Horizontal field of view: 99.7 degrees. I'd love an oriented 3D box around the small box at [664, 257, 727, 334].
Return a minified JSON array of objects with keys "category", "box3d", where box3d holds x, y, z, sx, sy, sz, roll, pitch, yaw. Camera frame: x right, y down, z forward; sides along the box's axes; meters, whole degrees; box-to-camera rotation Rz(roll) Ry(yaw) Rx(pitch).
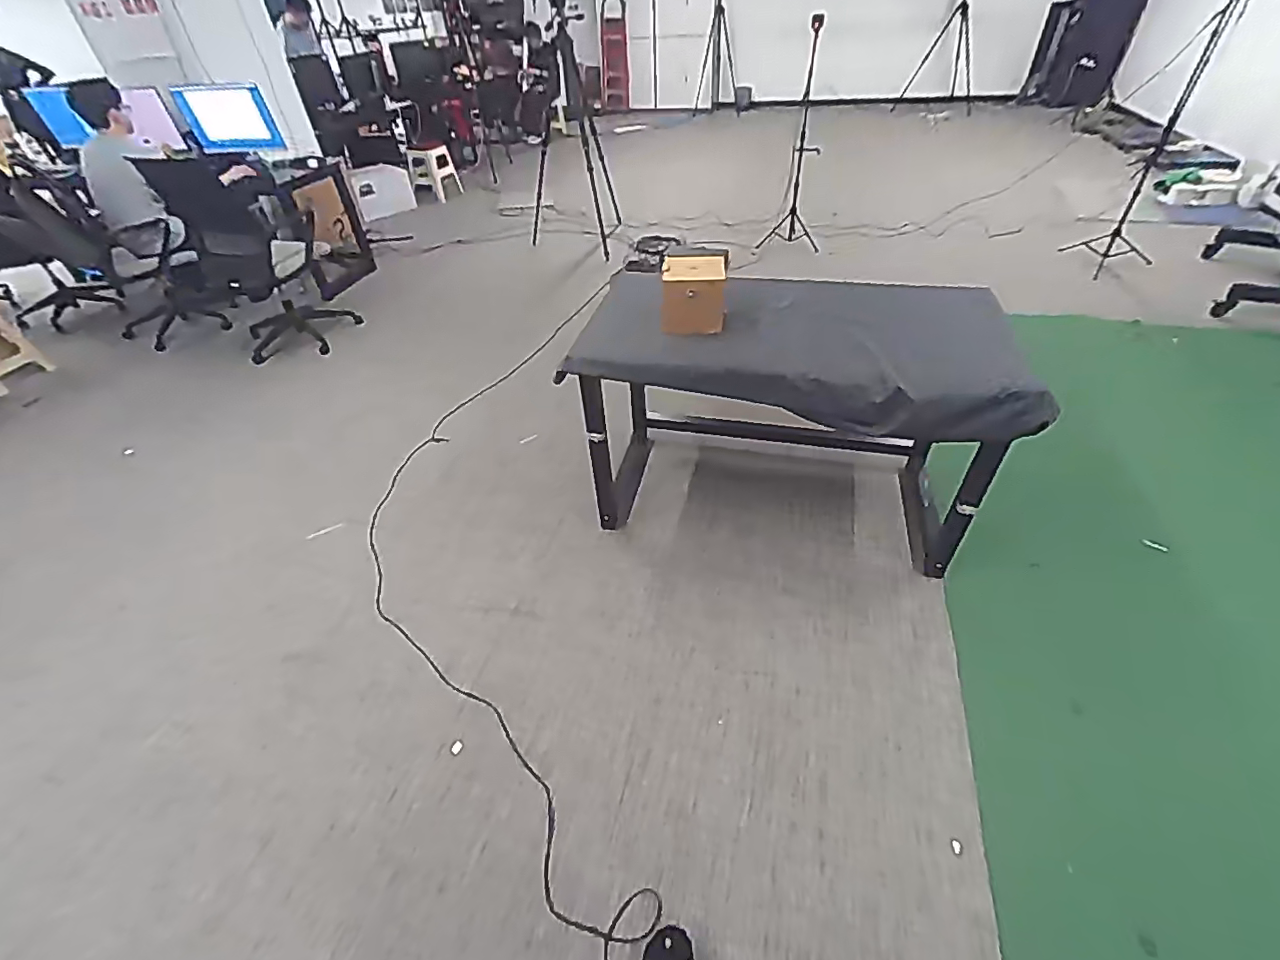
[{"category":"small box","box3d":[0.163,-0.540,1.585,0.179,0.176,0.168,2,44,5]}]
